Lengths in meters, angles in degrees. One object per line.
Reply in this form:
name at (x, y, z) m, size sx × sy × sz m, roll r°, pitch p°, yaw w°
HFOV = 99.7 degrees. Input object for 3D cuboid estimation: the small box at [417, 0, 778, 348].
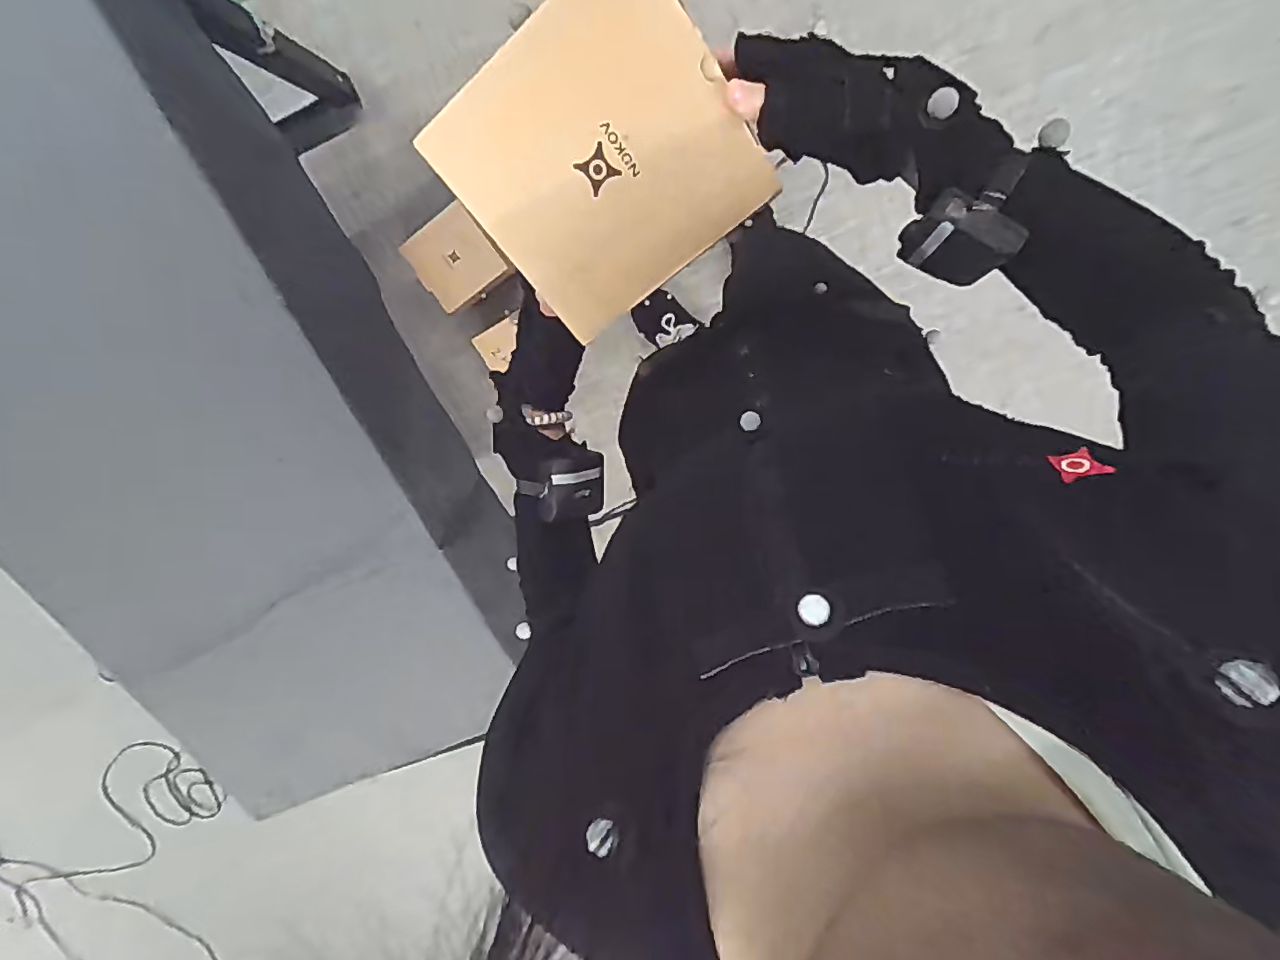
small box at (-0.026, -0.236, 0.413) m, size 0.179 × 0.176 × 0.168 m, roll -34°, pitch 116°, yaw 16°

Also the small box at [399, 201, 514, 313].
small box at (-0.400, -0.507, 1.233) m, size 0.179 × 0.176 × 0.168 m, roll -32°, pitch 110°, yaw 13°
